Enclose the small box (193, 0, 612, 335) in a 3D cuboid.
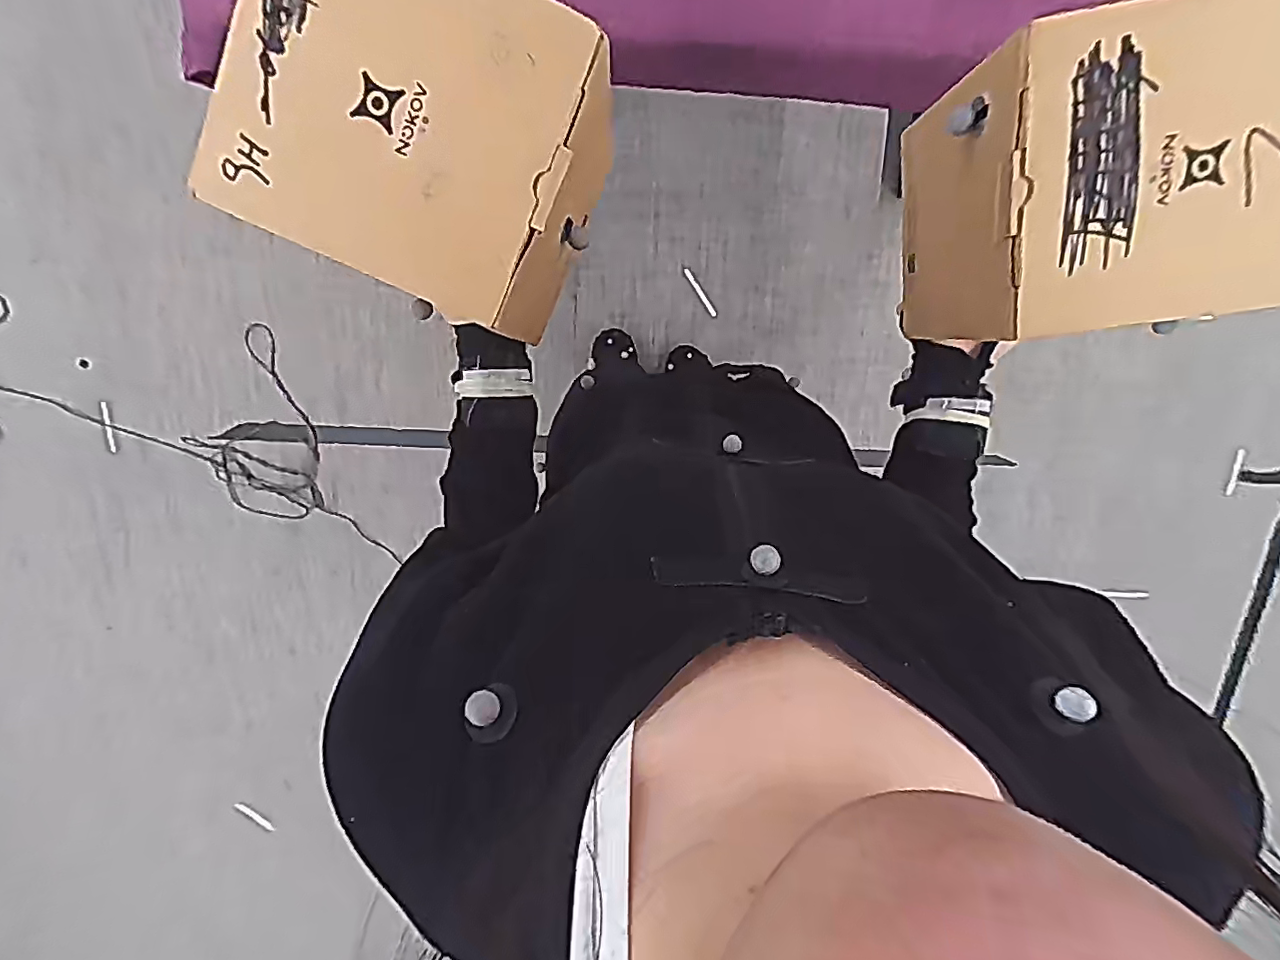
[{"bbox_3d":[-0.129,-0.207,0.361,0.179,0.176,0.168,23,99,-7],"label":"small box"}]
